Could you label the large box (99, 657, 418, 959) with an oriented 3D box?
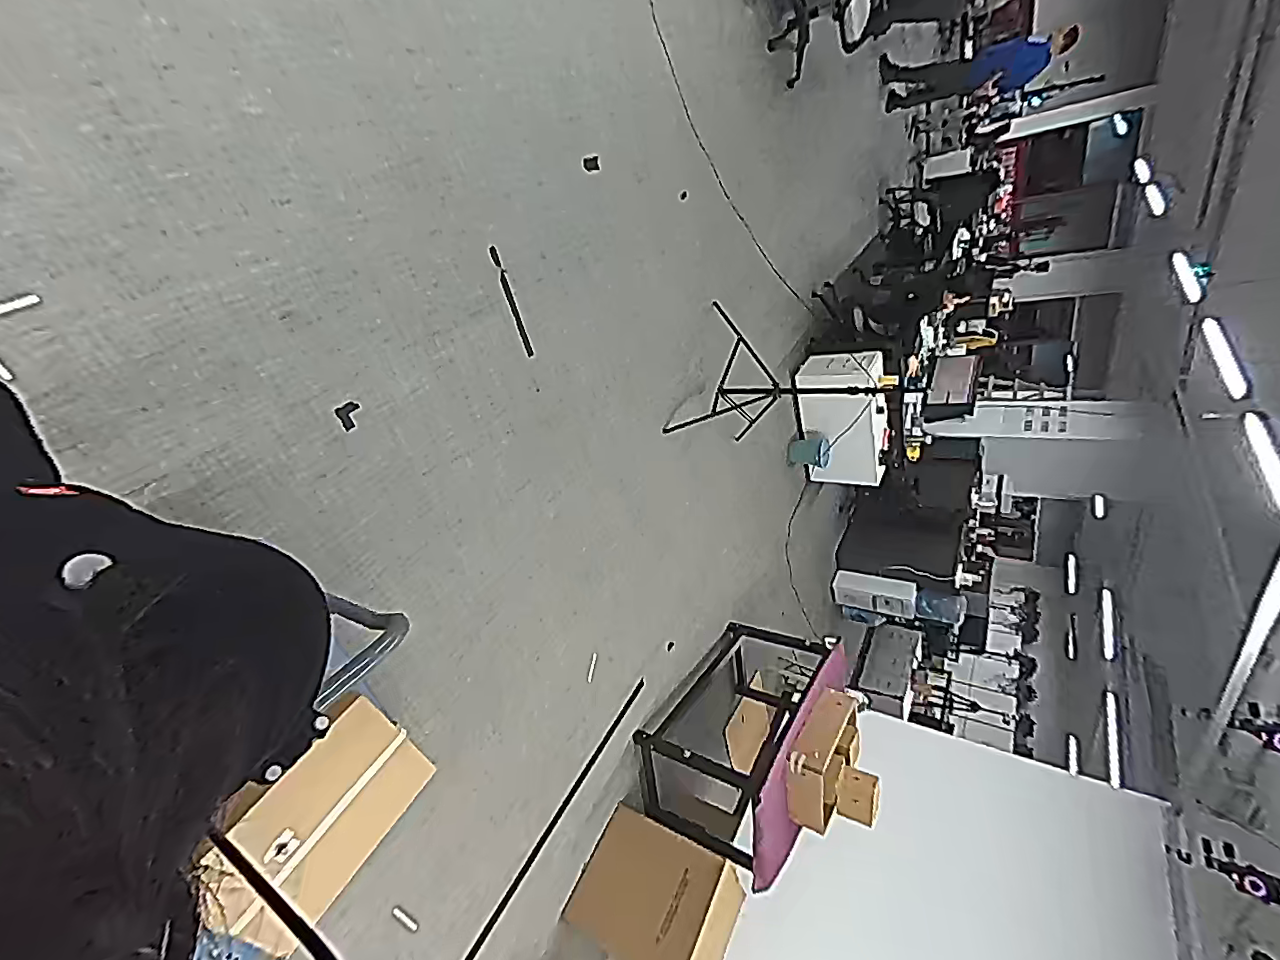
[{"bbox_3d":[-0.779,0.662,1.150,0.408,0.320,0.320,-50,132,-38],"label":"large box"}]
